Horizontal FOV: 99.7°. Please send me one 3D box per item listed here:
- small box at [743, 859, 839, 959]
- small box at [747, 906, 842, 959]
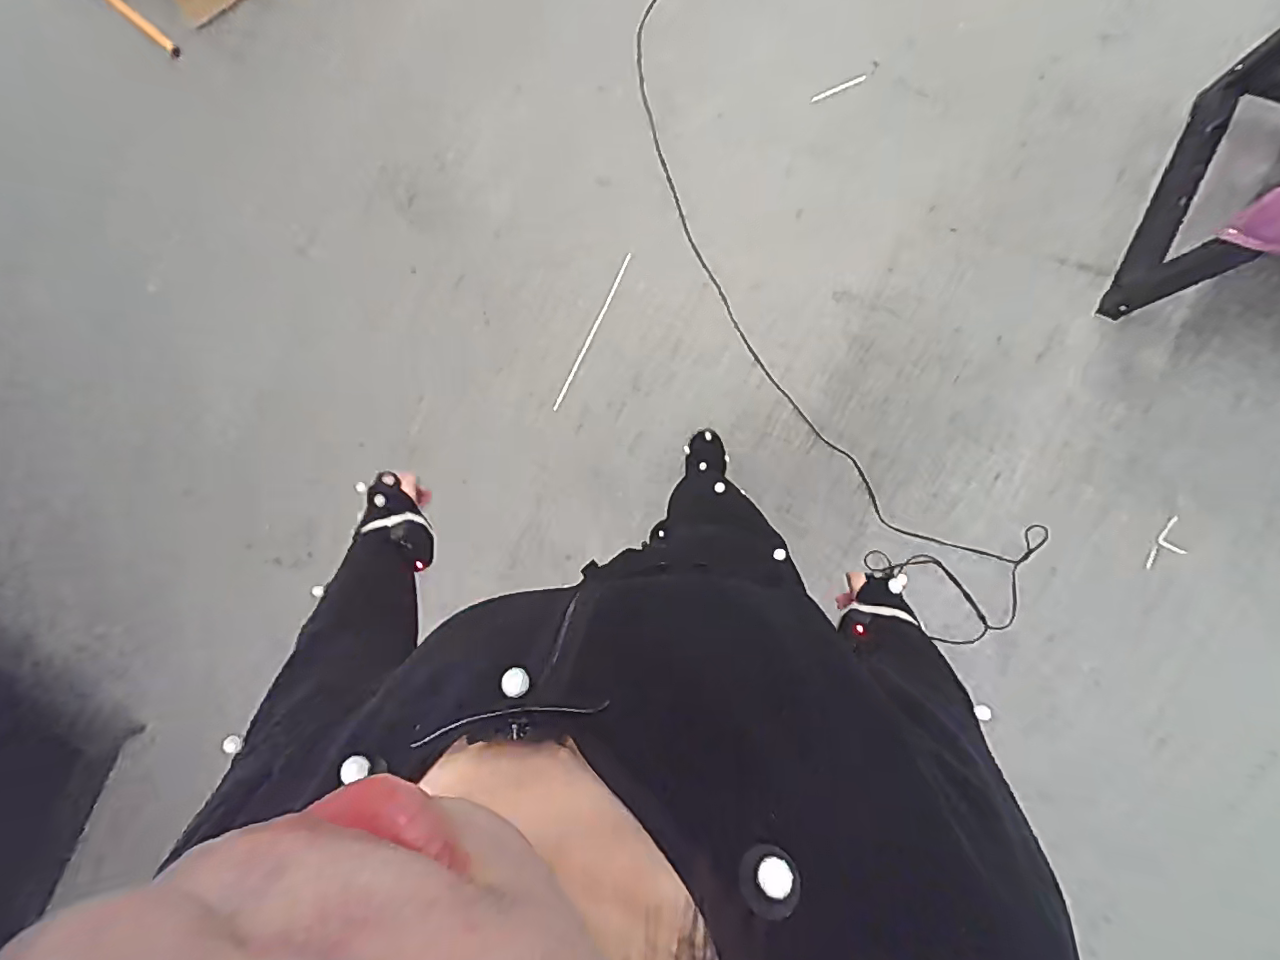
[{"bbox_3d":[0.369,1.121,1.367,0.168,0.176,0.179,31,94,8],"label":"small box"},{"bbox_3d":[0.347,1.117,1.203,0.168,0.176,0.179,32,95,8],"label":"small box"}]
